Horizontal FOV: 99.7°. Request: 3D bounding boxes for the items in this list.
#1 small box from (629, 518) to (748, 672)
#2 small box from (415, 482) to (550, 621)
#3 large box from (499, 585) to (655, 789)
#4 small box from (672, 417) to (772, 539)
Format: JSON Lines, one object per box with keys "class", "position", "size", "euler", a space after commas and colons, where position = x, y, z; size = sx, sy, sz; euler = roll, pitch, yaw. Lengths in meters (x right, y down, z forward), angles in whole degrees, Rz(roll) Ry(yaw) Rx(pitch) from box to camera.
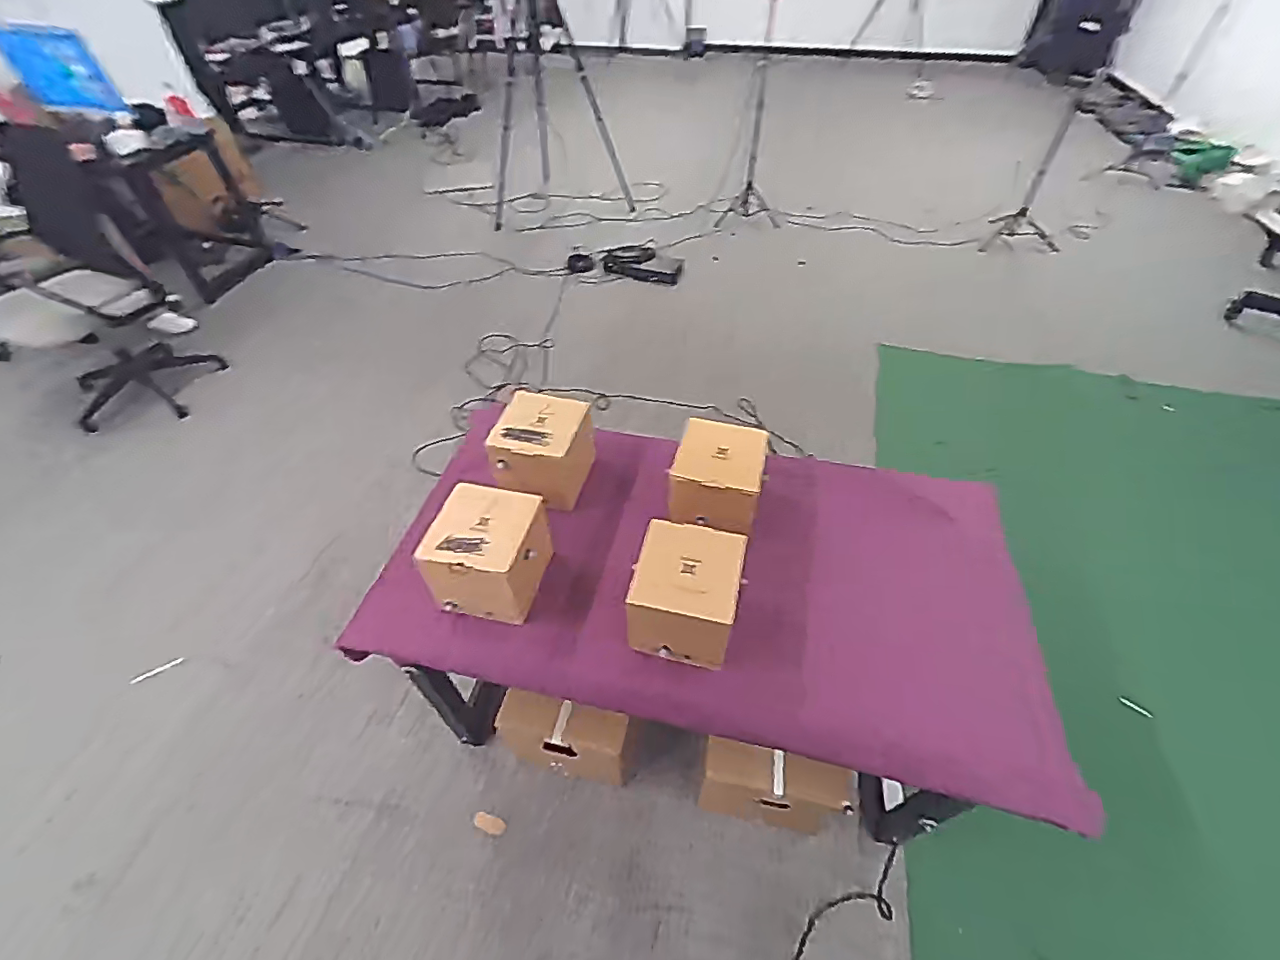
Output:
{"class": "small box", "position": [0.082, 0.195, 0.922], "size": [0.168, 0.176, 0.179], "euler": [10, 48, 11]}
{"class": "small box", "position": [-0.271, 0.132, 0.982], "size": [0.168, 0.176, 0.179], "euler": [9, 47, 9]}
{"class": "large box", "position": [-0.143, 0.563, 1.486], "size": [0.320, 0.320, 0.408], "euler": [10, 48, 9]}
{"class": "small box", "position": [0.162, 0.001, 1.100], "size": [0.168, 0.176, 0.179], "euler": [12, 50, 11]}
